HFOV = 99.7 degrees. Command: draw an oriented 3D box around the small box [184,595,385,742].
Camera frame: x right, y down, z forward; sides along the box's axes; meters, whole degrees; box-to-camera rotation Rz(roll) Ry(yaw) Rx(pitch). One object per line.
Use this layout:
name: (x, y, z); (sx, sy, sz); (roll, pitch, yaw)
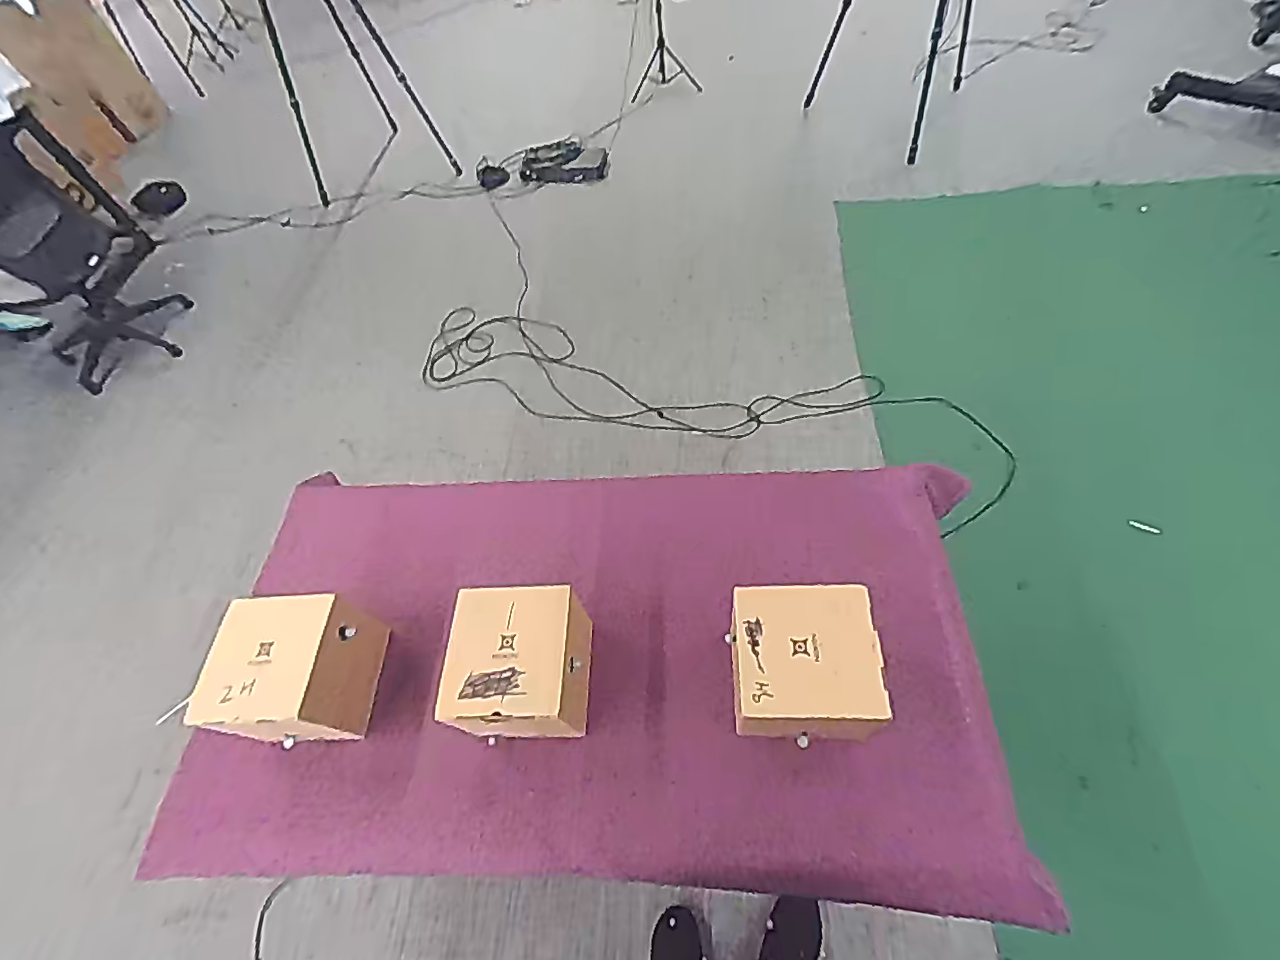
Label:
small box: (-0.518, 0.290, 0.823); (0.168, 0.176, 0.179); (-4, 57, 6)

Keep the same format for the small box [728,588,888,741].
small box: (0.215, 0.257, 0.744); (0.179, 0.176, 0.168); (-1, 57, 7)

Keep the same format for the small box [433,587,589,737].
small box: (-0.173, 0.271, 0.789); (0.168, 0.176, 0.179); (-3, 56, 6)
